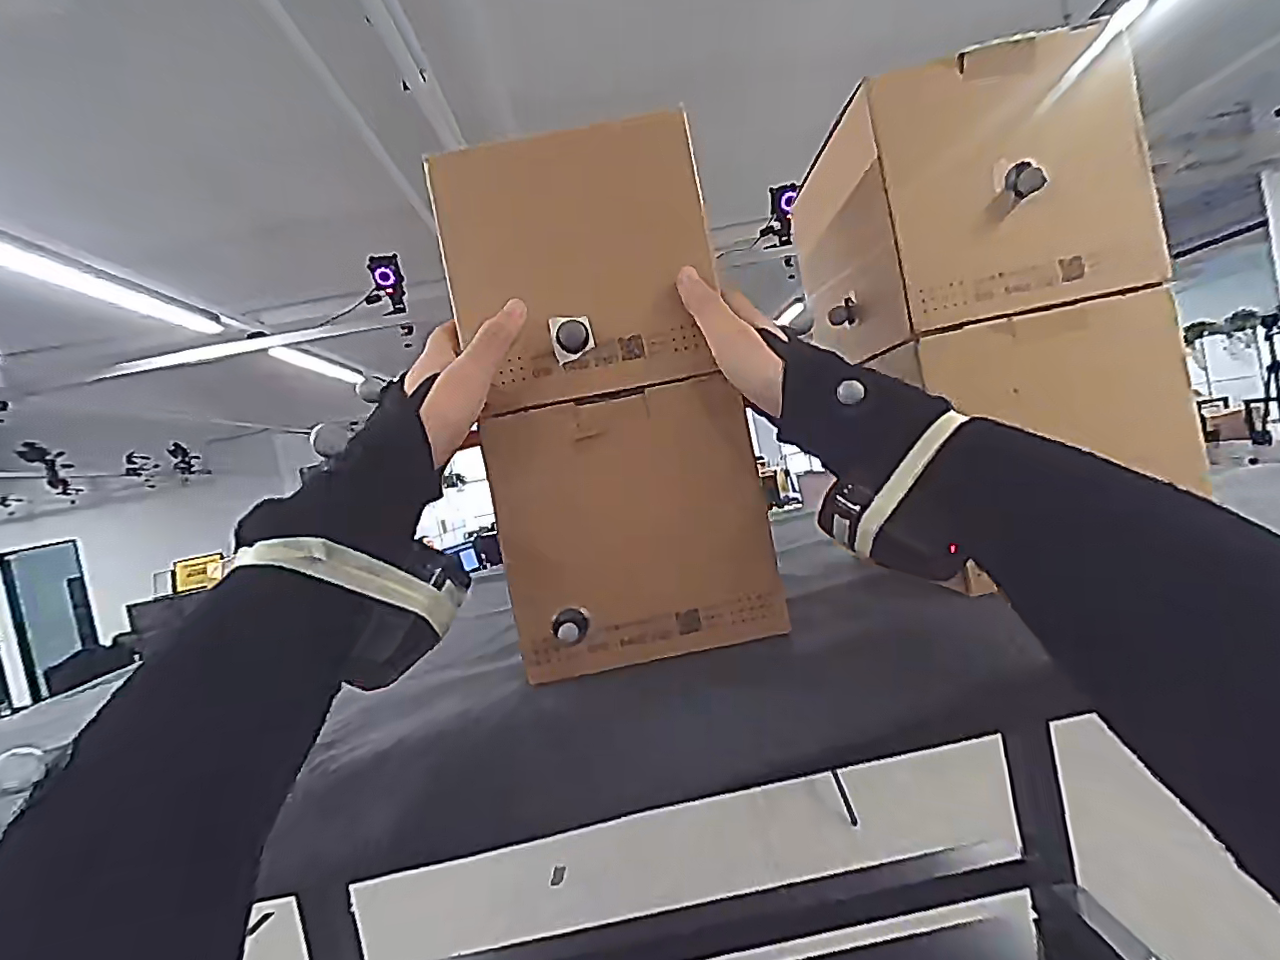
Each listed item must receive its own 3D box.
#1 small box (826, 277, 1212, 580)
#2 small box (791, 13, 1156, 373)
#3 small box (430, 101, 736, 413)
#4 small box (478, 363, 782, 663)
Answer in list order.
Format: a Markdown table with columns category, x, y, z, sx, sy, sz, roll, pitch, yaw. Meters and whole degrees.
| category | x | y | z | sx | sy | sz | roll | pitch | yaw |
| --- | --- | --- | --- | --- | --- | --- | --- | --- | --- |
| small box | 0.265 | -0.029 | 0.417 | 0.168 | 0.176 | 0.179 | -13 | 1 | 0 |
| small box | 0.234 | -0.190 | 0.416 | 0.168 | 0.176 | 0.179 | -11 | 1 | 1 |
| small box | -0.035 | -0.134 | 0.411 | 0.168 | 0.176 | 0.179 | -12 | 1 | -1 |
| small box | -0.005 | 0.026 | 0.410 | 0.168 | 0.176 | 0.179 | -11 | -1 | -1 |
